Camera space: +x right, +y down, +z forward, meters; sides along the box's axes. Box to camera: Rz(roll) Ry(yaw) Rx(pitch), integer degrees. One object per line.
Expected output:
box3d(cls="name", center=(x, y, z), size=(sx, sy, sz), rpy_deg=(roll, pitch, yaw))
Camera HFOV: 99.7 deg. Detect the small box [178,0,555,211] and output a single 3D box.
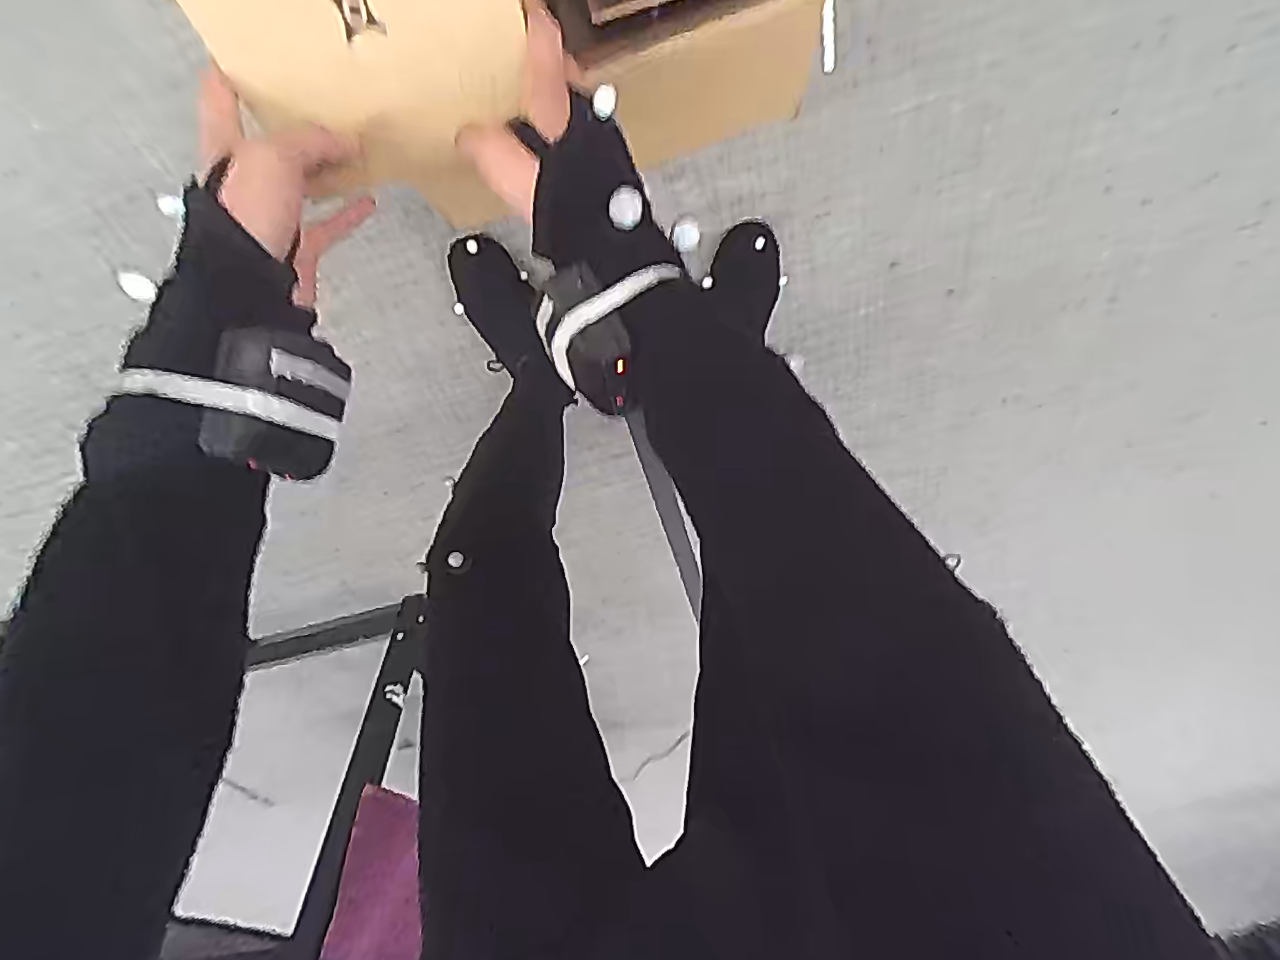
box3d(cls="small box", center=(-0.154, -0.300, 0.329), size=(0.168, 0.176, 0.179), rpy_deg=(-14, 135, 3))
